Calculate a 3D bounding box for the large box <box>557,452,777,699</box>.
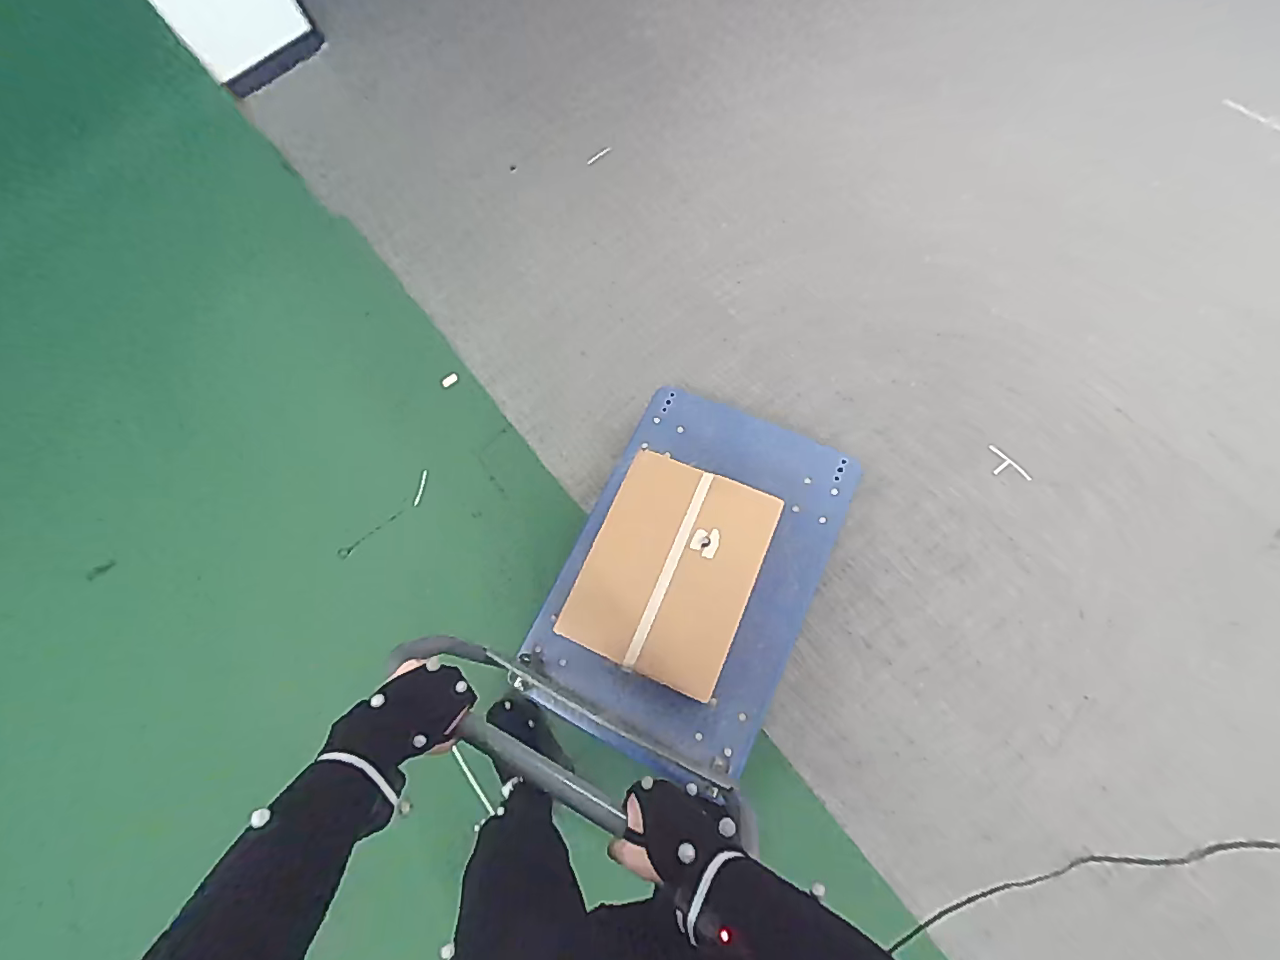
[{"bbox_3d":[0.072,0.215,1.176,0.320,0.320,0.408,22,75,13],"label":"large box"}]
